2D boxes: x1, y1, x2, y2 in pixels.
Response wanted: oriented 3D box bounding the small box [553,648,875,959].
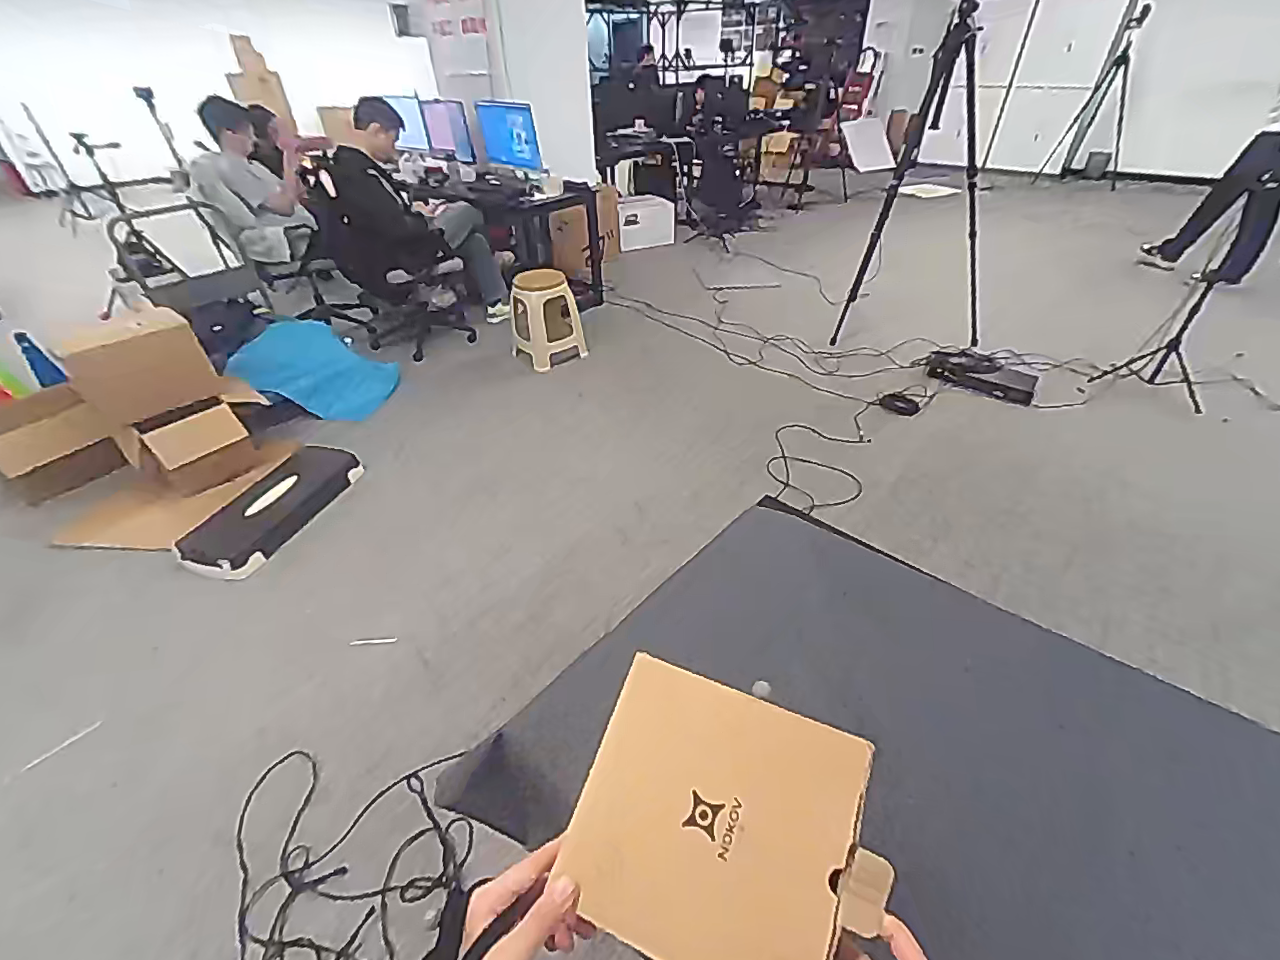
[{"bbox_3d":[0.063,0.257,0.427,0.179,0.176,0.168,16,65,18],"label":"small box"}]
